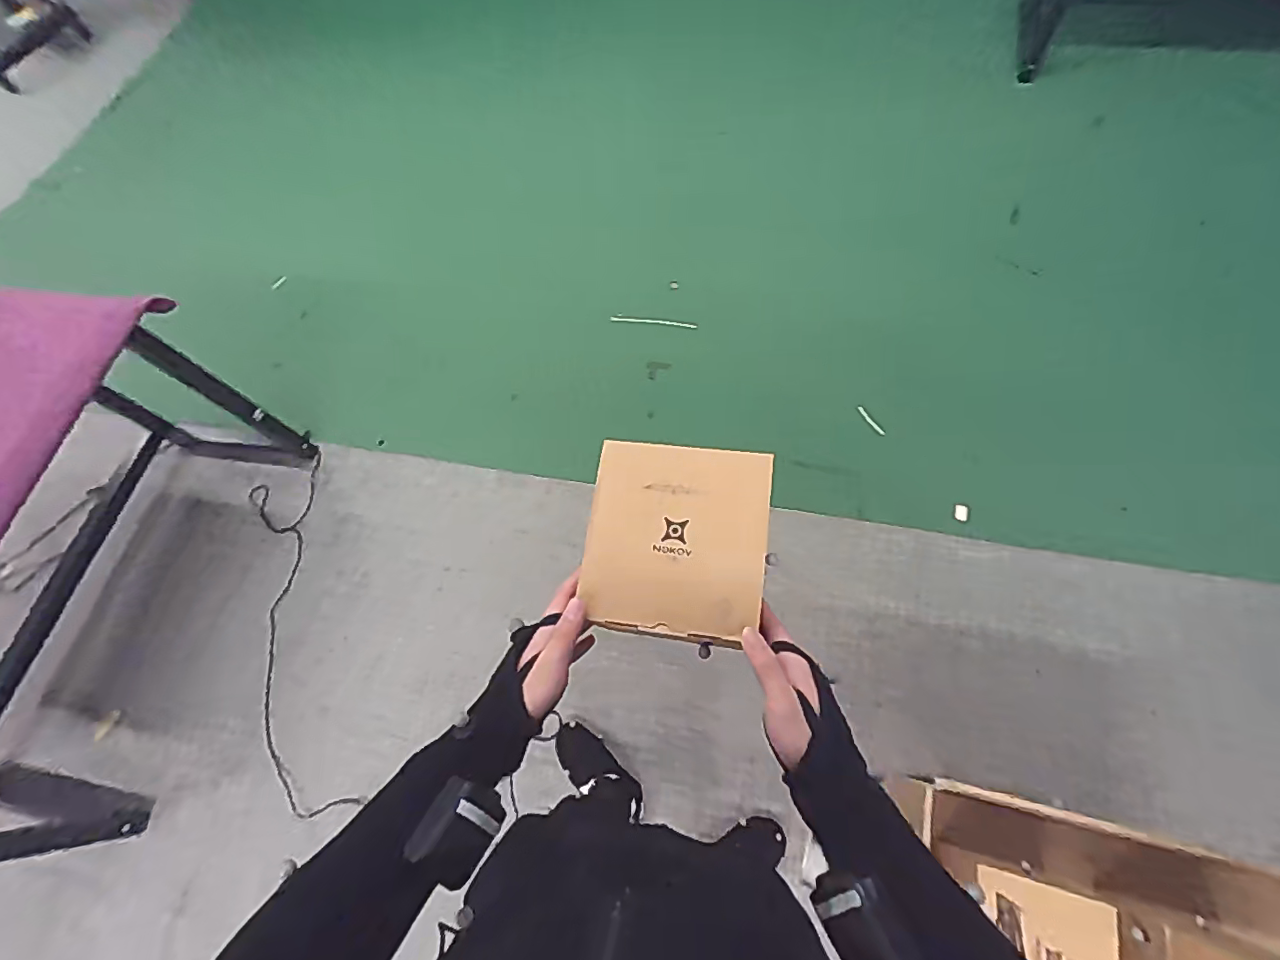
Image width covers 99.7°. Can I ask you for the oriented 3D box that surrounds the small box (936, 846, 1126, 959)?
[{"bbox_3d":[0.554,0.661,0.787,0.179,0.176,0.168,12,69,11],"label":"small box"}]

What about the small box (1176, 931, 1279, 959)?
[{"bbox_3d":[0.757,0.642,0.593,0.179,0.176,0.168,9,68,15],"label":"small box"}]

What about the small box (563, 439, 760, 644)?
[{"bbox_3d":[0.033,0.073,0.569,0.168,0.176,0.179,5,73,10],"label":"small box"}]
